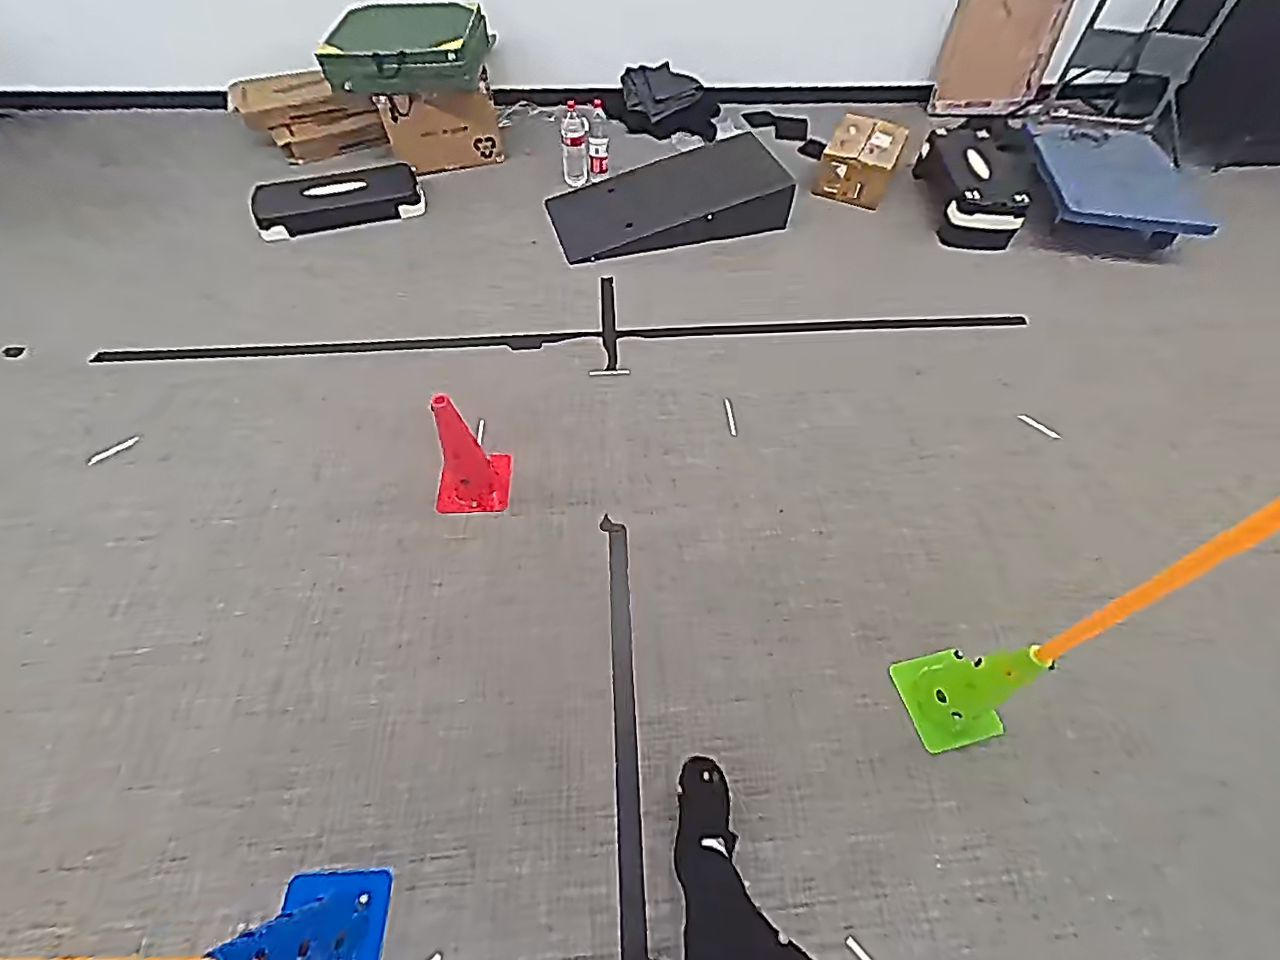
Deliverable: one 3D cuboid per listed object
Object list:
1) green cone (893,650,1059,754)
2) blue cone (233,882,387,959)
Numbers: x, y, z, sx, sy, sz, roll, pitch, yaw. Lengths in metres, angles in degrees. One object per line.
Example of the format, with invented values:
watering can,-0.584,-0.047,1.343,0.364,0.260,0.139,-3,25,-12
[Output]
green cone,0.722,0.420,1.119,0.200,0.368,0.202,-12,58,-9
blue cone,-0.572,0.771,0.861,0.193,0.380,0.192,0,56,-1
